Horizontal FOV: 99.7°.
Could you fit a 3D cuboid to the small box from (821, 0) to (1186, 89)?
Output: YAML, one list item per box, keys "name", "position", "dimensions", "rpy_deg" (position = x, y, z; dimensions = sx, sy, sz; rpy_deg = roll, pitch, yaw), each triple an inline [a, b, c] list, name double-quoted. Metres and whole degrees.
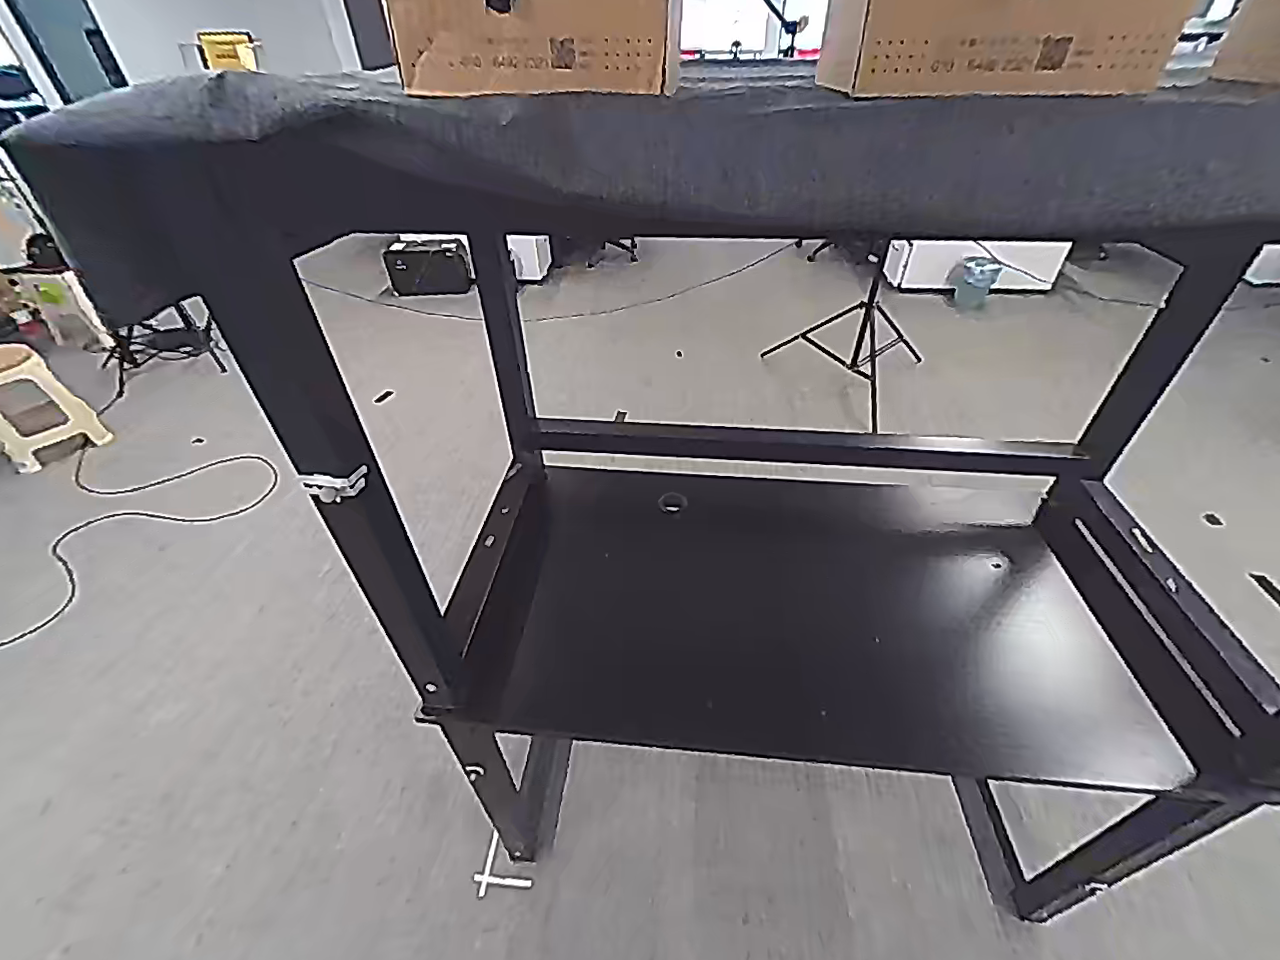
- name: "small box"
  position: [0.215, -0.343, 0.324]
  dimensions: [0.168, 0.176, 0.179]
  rpy_deg: [4, 38, 6]

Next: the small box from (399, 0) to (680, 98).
- name: "small box"
  position: [-0.057, -0.356, 0.346]
  dimensions: [0.168, 0.176, 0.179]
  rpy_deg: [4, 39, 4]
